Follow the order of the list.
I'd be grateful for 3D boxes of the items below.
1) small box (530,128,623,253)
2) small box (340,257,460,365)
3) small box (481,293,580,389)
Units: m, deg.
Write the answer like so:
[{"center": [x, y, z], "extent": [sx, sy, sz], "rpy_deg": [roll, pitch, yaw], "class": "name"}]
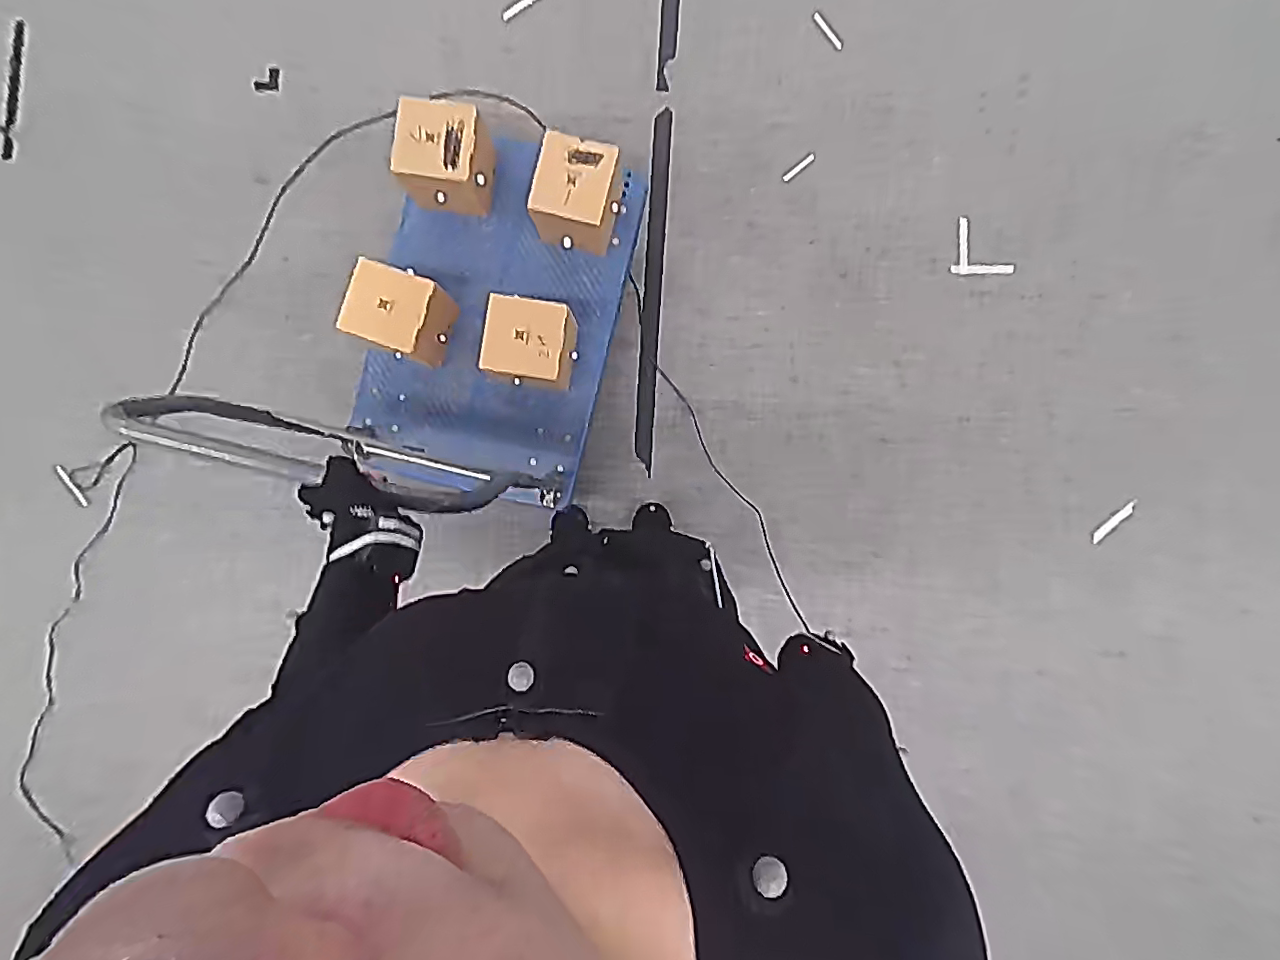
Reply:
[{"center": [-0.137, -0.654, 1.241], "extent": [0.168, 0.176, 0.179], "rpy_deg": [15, 92, 1], "class": "small box"}, {"center": [-0.544, -0.379, 1.249], "extent": [0.179, 0.176, 0.168], "rpy_deg": [18, 90, -1], "class": "small box"}, {"center": [-0.244, -0.312, 1.245], "extent": [0.179, 0.176, 0.168], "rpy_deg": [9, 91, 1], "class": "small box"}]
